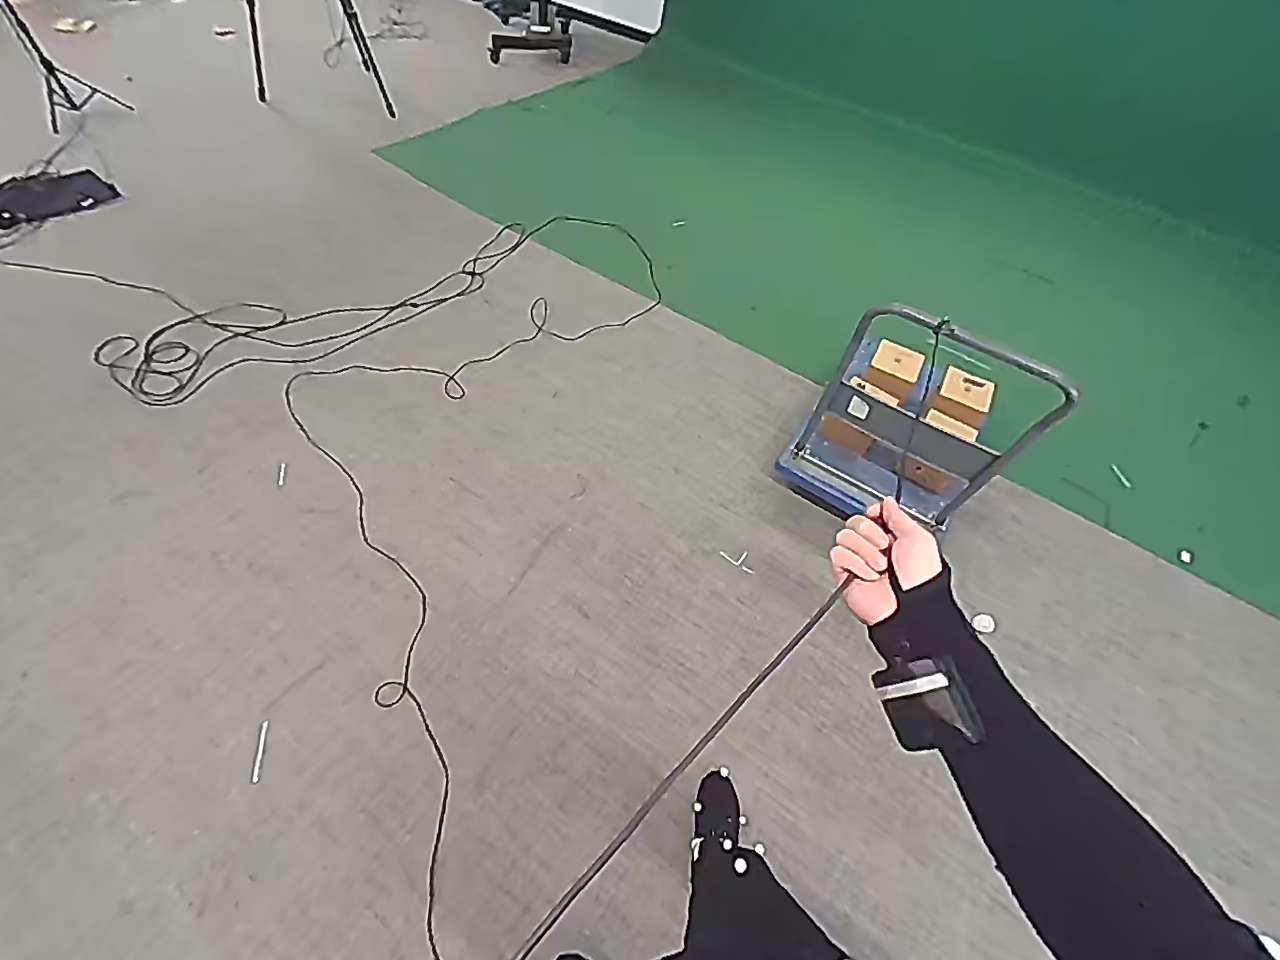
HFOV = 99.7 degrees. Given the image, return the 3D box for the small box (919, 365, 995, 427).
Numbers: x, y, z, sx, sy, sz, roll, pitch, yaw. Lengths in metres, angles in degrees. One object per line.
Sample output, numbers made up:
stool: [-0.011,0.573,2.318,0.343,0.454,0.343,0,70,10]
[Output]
small box: [1.146,-0.278,1.960,0.168,0.176,0.179,28,57,14]

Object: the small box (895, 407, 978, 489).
small box: [0.993,-0.105,1.821,0.168,0.176,0.179,32,58,16]

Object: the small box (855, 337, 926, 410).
small box: [0.930,-0.393,2.020,0.168,0.176,0.179,29,57,13]
